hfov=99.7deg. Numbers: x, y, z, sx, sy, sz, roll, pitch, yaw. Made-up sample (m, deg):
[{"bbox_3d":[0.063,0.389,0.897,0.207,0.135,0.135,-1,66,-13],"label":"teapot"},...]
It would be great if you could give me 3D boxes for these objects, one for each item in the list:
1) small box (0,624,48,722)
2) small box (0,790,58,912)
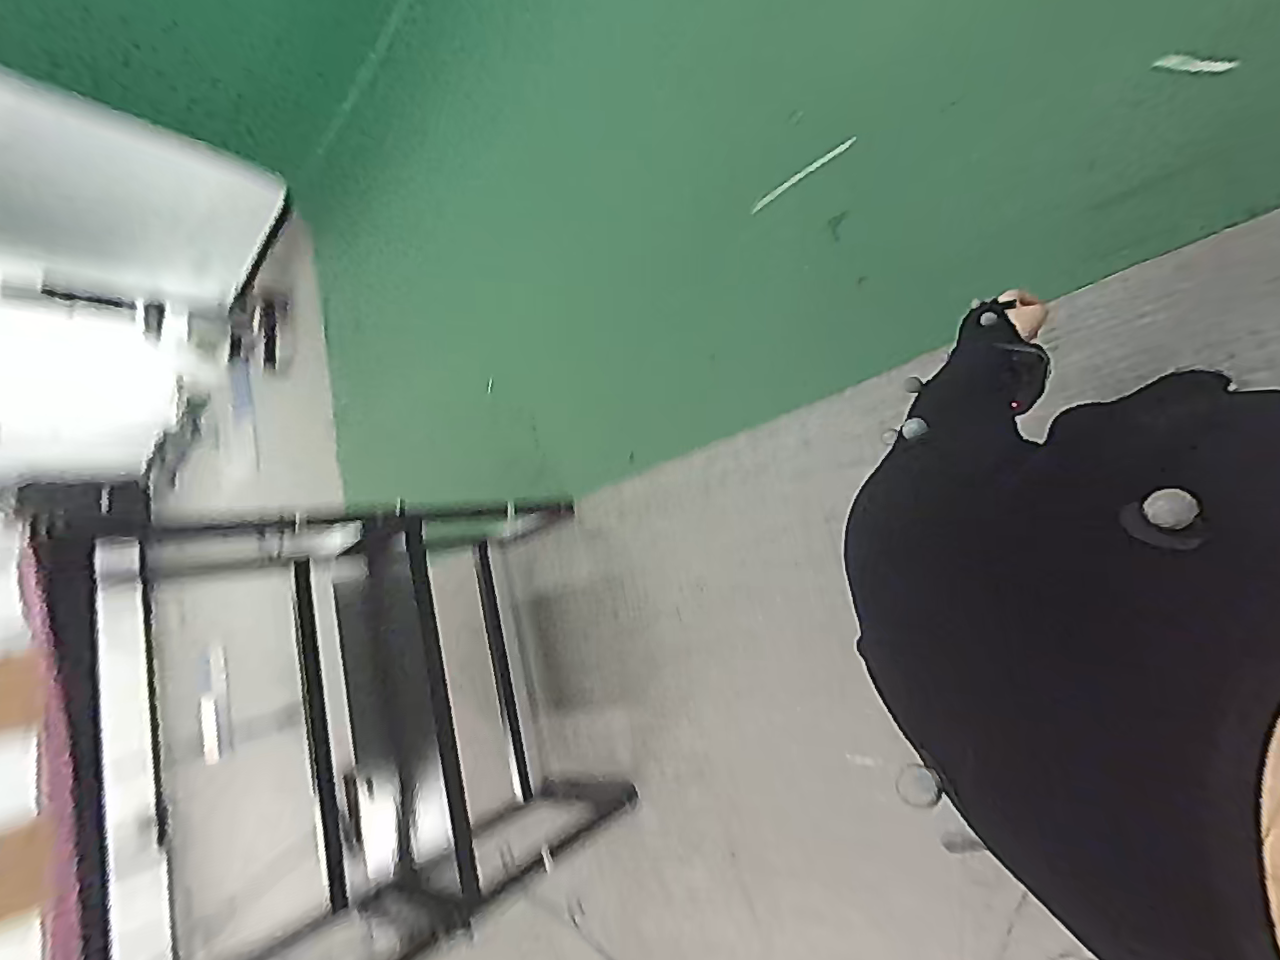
[{"bbox_3d":[-1.297,0.394,1.066,0.168,0.176,0.179,-20,77,40],"label":"small box"},{"bbox_3d":[-1.202,0.694,0.991,0.168,0.176,0.179,-23,76,38],"label":"small box"}]
